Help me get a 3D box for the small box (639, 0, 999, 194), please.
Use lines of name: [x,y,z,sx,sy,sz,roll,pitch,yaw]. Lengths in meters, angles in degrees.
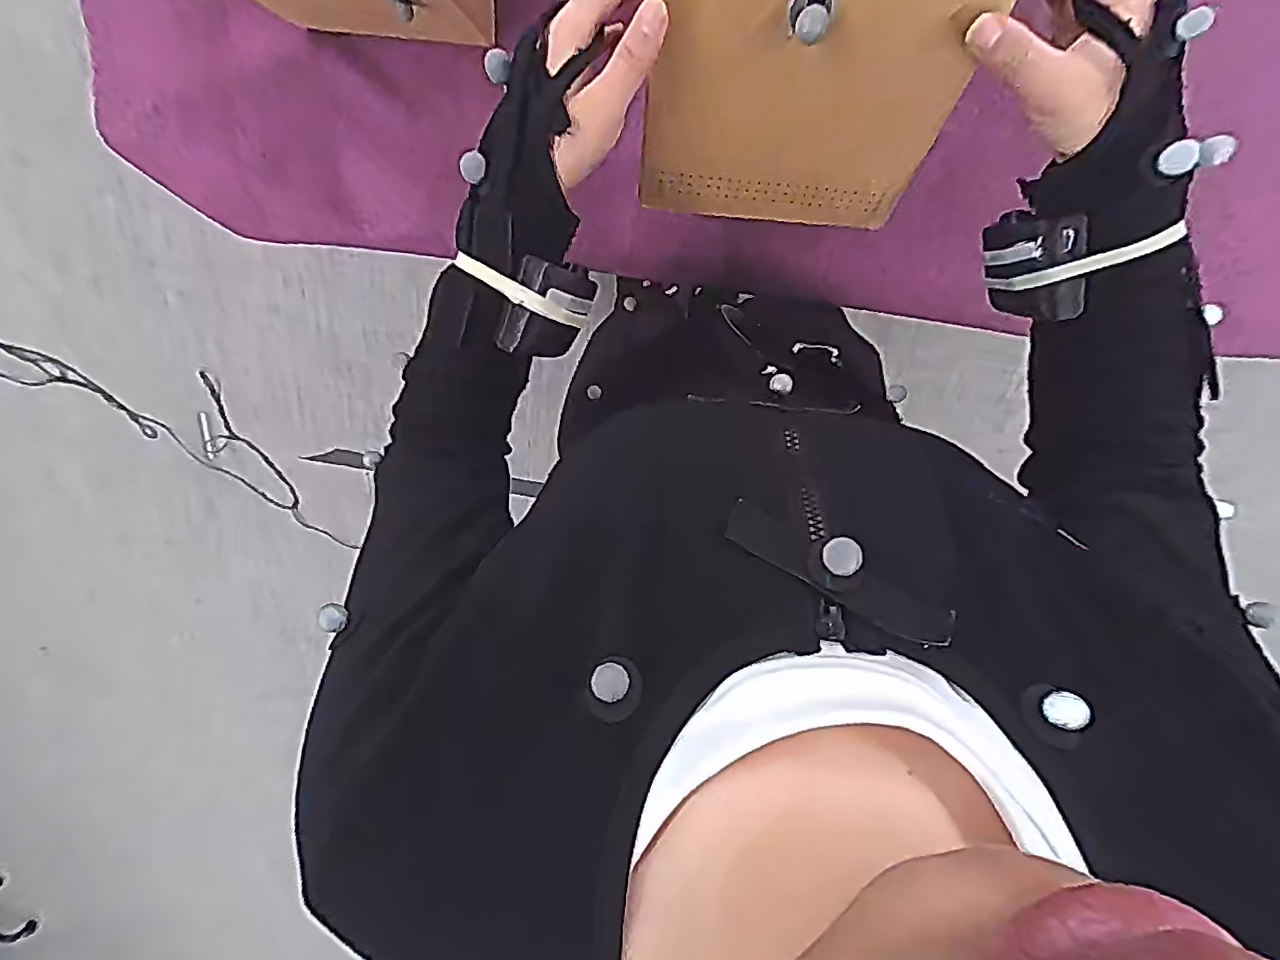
small box: [0.097,-0.311,0.342,0.179,0.176,0.168,8,87,0]
